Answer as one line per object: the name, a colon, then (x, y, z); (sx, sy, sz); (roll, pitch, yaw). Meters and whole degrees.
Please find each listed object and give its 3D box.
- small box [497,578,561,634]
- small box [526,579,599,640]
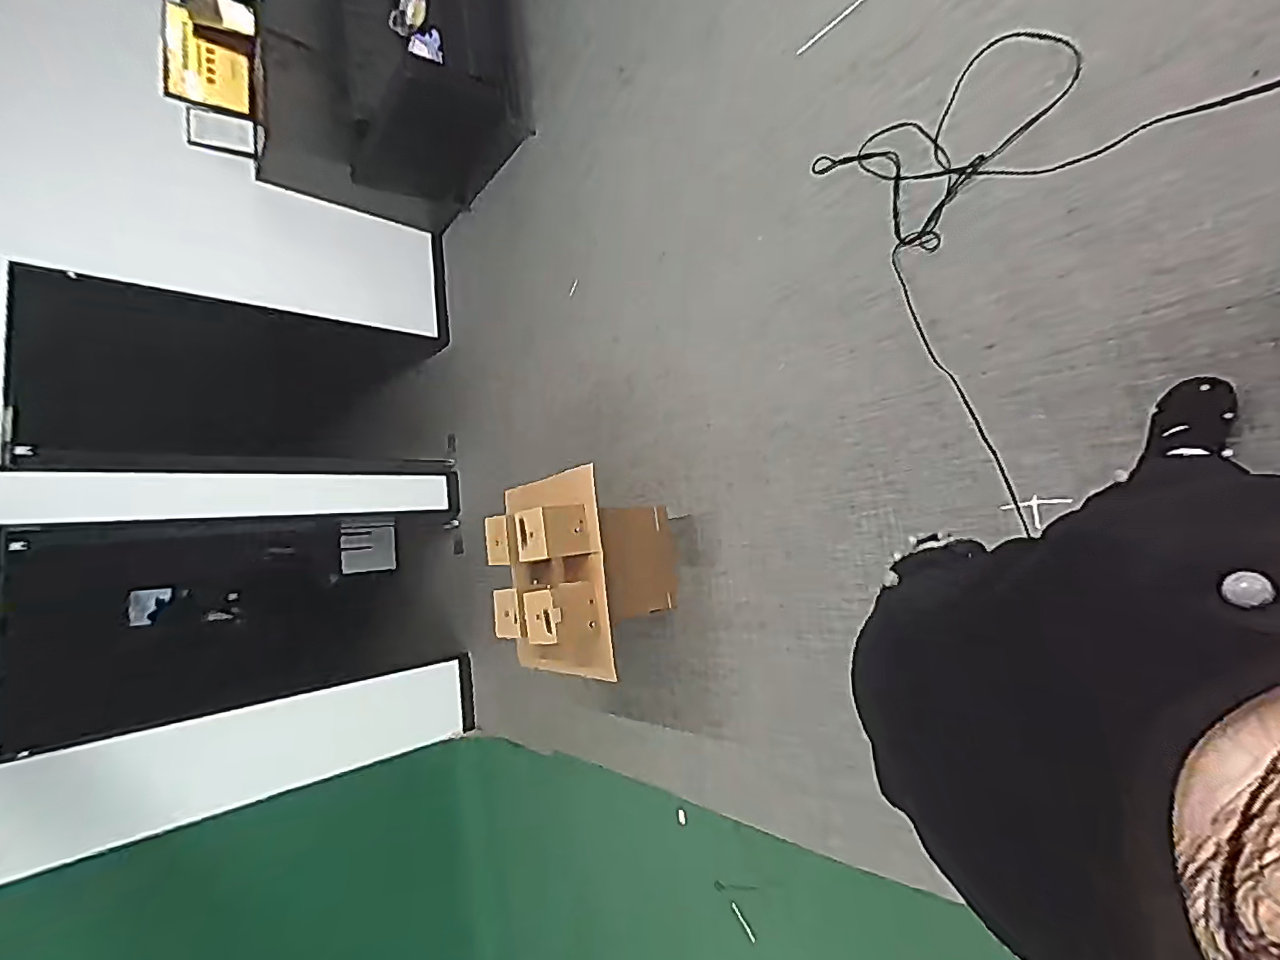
small box: (-0.388, 0.443, 1.916); (0.179, 0.176, 0.168); (-17, 79, 48)
small box: (-0.245, 0.419, 1.757); (0.179, 0.176, 0.168); (-21, 74, 46)
